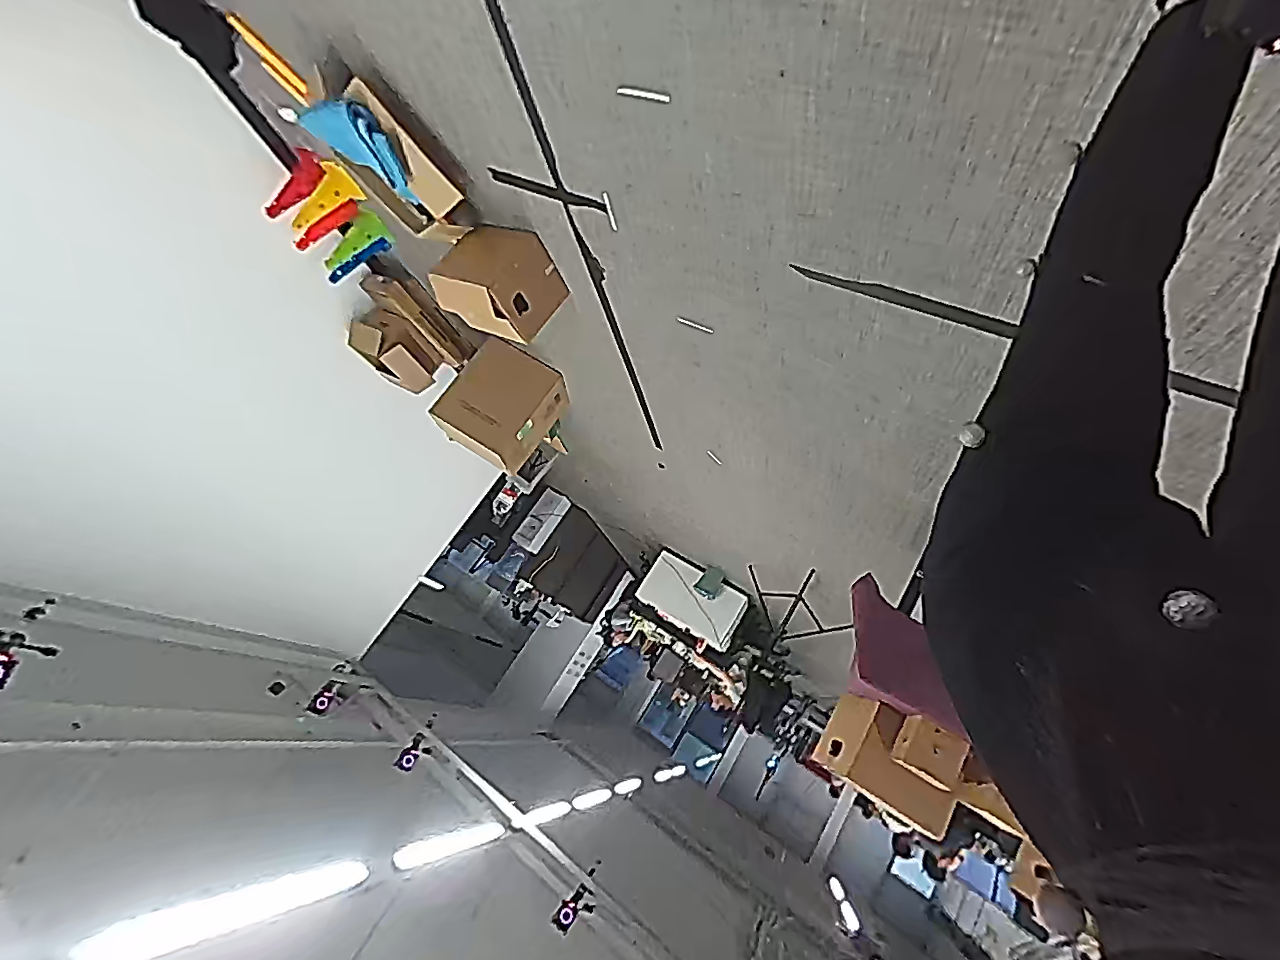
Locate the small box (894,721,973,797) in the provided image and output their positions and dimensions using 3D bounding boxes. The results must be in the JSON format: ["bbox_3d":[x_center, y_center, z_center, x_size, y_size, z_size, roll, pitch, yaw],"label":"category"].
[{"bbox_3d":[0.998,0.941,1.835,0.168,0.176,0.179,29,164,22],"label":"small box"}]
